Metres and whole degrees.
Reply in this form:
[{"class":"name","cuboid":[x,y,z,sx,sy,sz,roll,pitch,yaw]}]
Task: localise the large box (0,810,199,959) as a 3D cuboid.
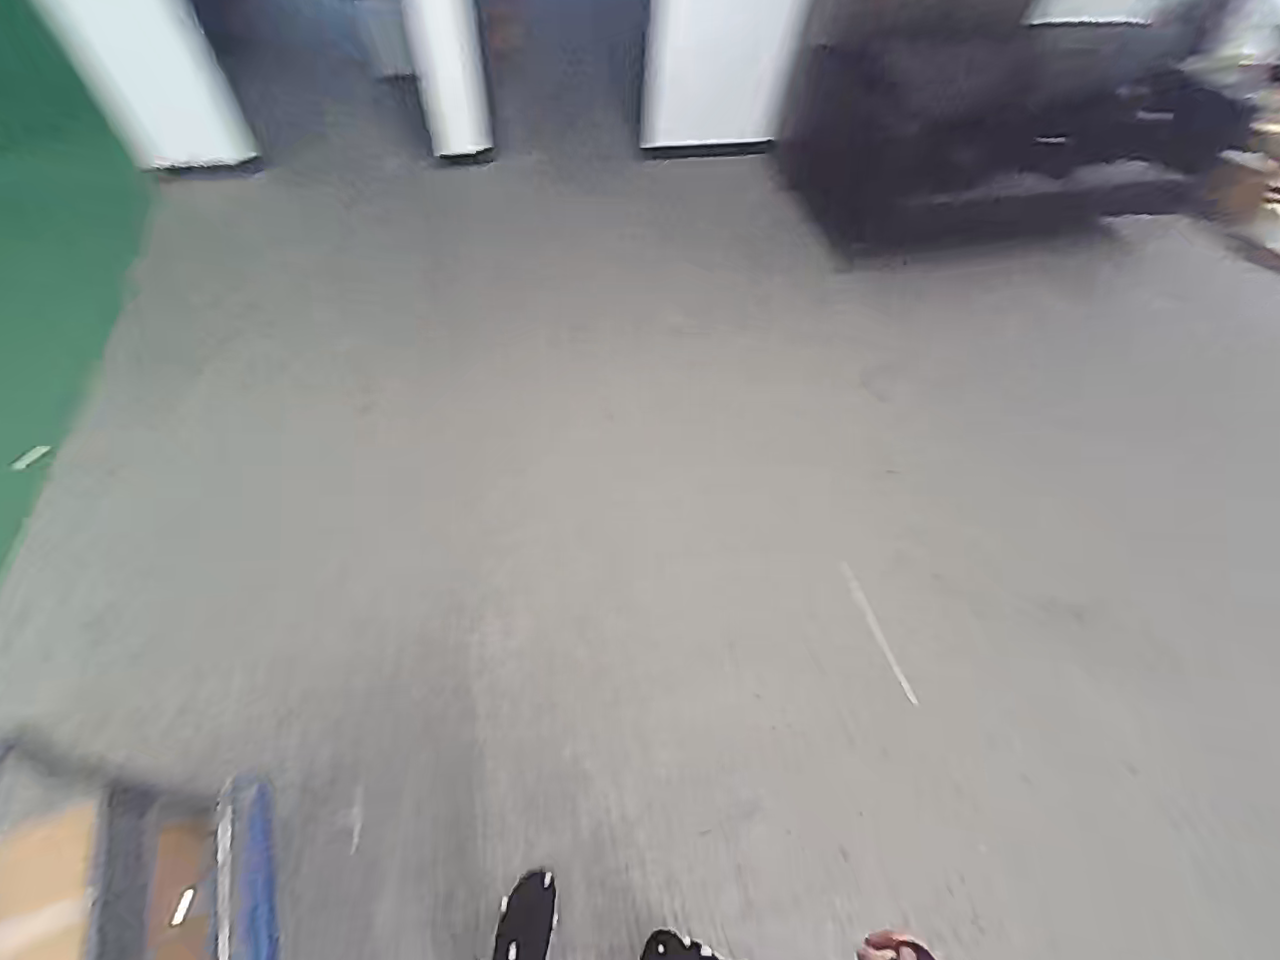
[{"class":"large box","cuboid":[-1.037,0.803,0.884,0.408,0.320,0.320,-18,58,-17]}]
